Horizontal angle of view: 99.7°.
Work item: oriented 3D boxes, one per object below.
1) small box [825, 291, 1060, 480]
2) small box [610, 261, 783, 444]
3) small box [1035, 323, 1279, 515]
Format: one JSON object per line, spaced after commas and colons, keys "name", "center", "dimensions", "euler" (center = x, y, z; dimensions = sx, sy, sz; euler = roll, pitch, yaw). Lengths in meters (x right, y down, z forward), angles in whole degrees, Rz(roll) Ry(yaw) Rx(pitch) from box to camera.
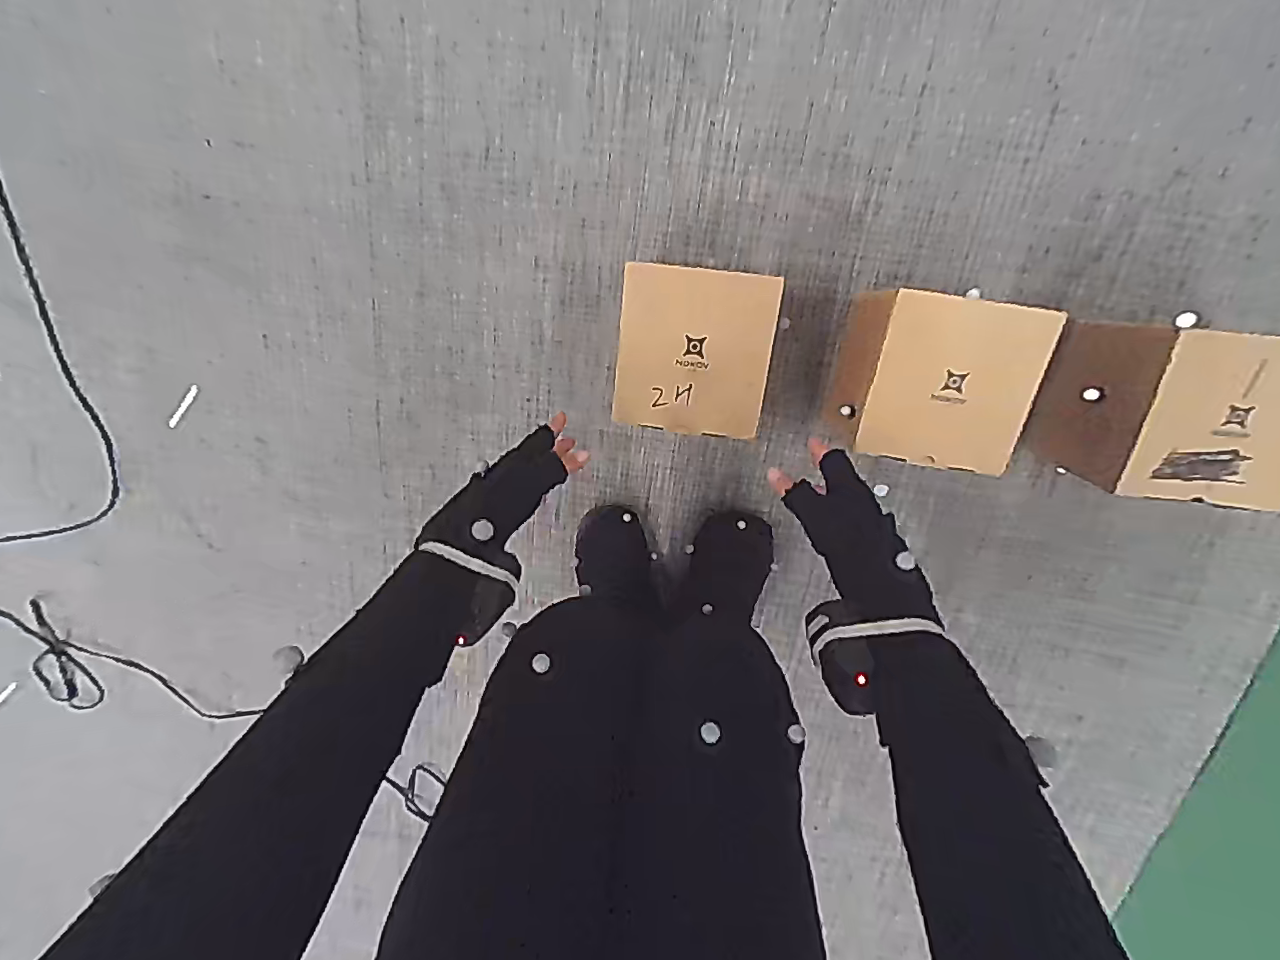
{"name": "small box", "center": [0.331, -0.118, 0.636], "dimensions": [0.168, 0.176, 0.179], "euler": [9, 109, 4]}
{"name": "small box", "center": [0.065, -0.157, 0.654], "dimensions": [0.168, 0.176, 0.179], "euler": [9, 109, 6]}
{"name": "small box", "center": [0.596, -0.079, 0.614], "dimensions": [0.168, 0.176, 0.179], "euler": [7, 108, 5]}
